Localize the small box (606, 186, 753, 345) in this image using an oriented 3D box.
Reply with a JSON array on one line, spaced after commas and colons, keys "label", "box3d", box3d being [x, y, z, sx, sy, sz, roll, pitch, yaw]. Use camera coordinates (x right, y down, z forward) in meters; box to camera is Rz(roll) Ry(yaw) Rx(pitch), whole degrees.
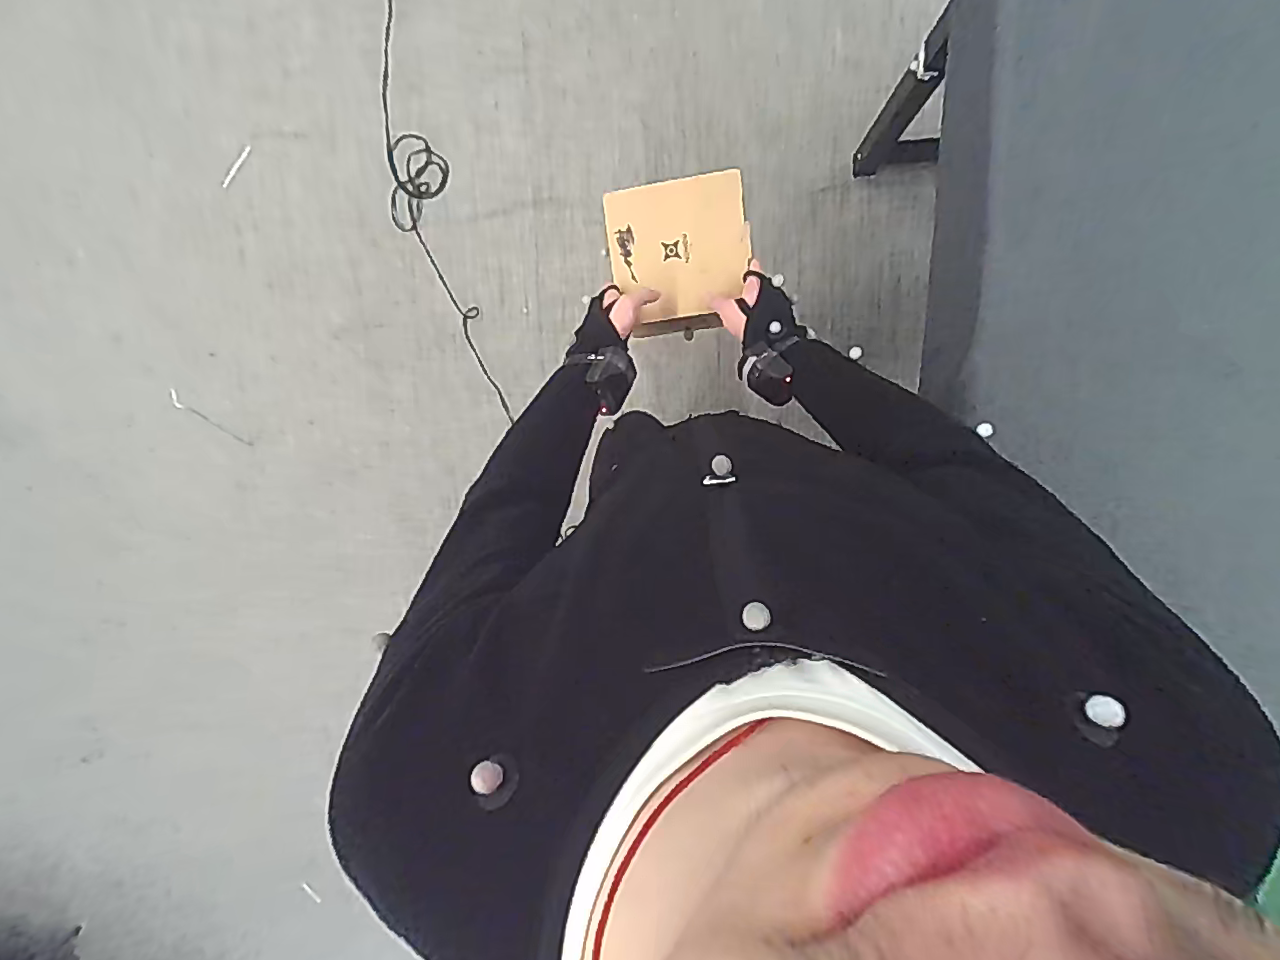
[{"label": "small box", "box3d": [0.057, -0.289, 0.764, 0.179, 0.176, 0.168, -6, 98, 6]}]
